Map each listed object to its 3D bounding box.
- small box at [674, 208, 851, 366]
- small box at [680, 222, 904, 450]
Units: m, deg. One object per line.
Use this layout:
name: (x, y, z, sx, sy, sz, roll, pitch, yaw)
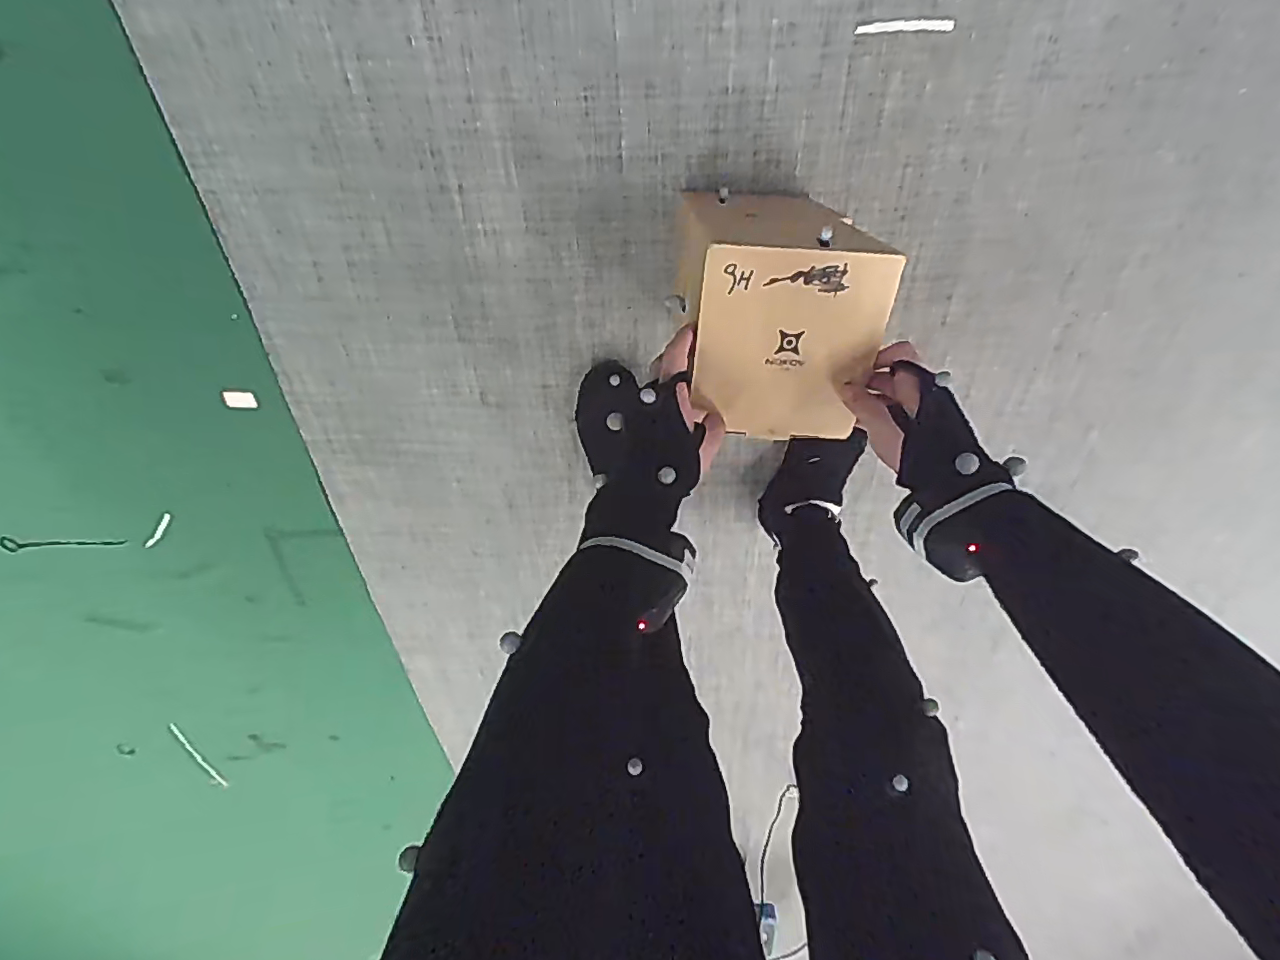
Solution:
small box: (0.138, -0.244, 0.690, 0.179, 0.176, 0.168, 2, 124, -2)
small box: (0.133, -0.150, 0.555, 0.168, 0.176, 0.179, 2, 125, -2)
